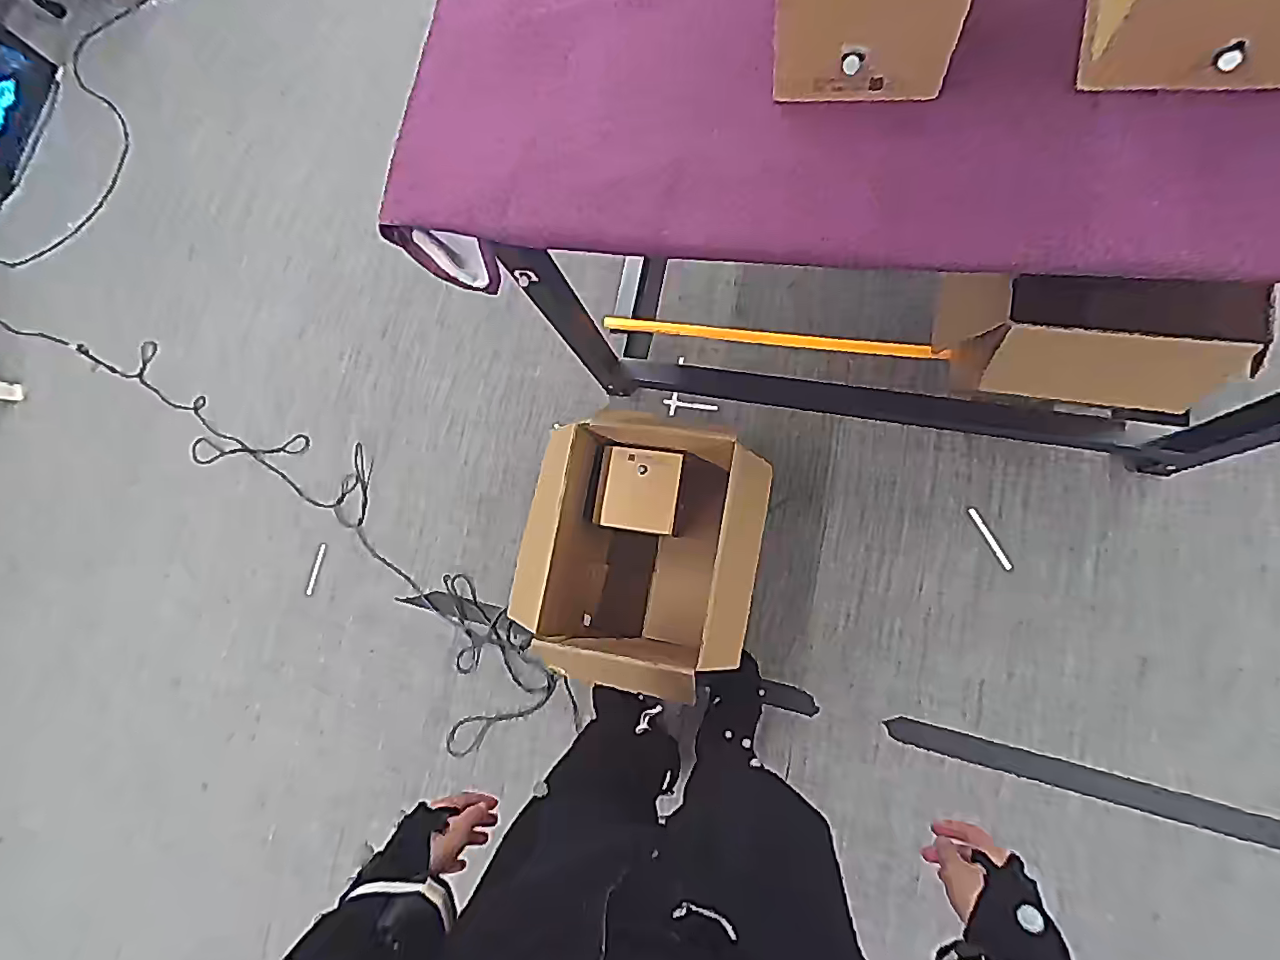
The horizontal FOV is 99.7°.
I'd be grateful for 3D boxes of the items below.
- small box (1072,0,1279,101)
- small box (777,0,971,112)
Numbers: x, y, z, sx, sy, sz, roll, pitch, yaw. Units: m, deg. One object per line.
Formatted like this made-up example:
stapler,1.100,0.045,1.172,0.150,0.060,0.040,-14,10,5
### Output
small box,0.502,-0.452,0.441,0.179,0.176,0.168,11,80,16
small box,0.227,-0.497,0.518,0.168,0.176,0.179,9,81,15
